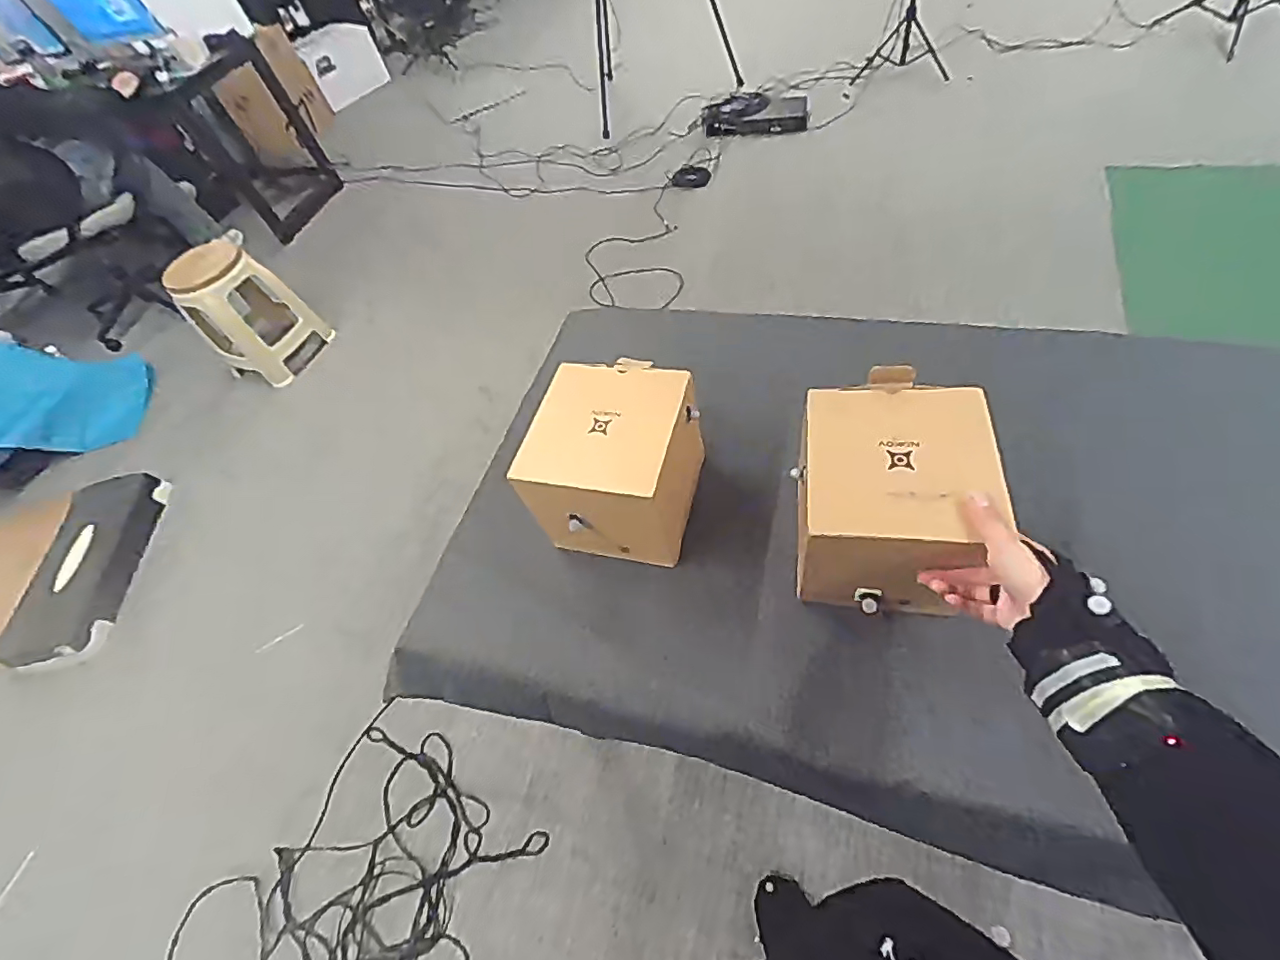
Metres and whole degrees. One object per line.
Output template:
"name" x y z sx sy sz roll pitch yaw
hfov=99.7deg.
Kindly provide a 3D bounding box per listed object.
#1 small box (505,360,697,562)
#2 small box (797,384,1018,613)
"small box" -0.030 -0.020 0.653 0.168 0.176 0.179 7 57 17
"small box" 0.252 0.020 0.562 0.168 0.176 0.179 1 57 14
